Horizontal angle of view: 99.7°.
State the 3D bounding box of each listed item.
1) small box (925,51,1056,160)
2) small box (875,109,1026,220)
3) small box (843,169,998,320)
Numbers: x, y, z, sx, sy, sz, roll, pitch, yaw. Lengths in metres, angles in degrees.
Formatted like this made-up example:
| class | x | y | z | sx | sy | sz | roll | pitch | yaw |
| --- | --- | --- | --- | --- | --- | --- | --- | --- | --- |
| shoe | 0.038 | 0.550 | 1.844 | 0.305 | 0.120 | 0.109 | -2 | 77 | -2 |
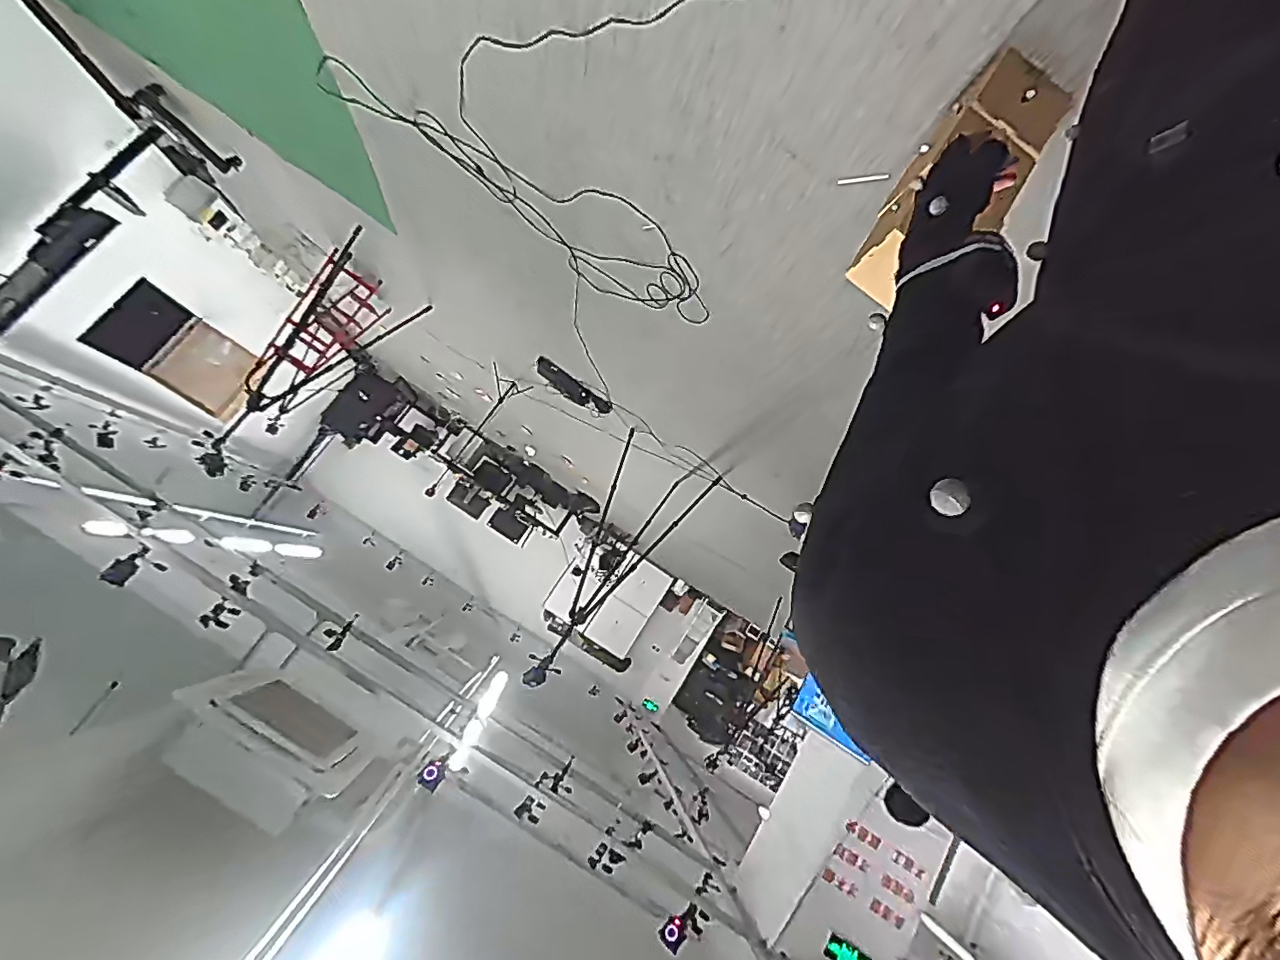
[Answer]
| class | x | y | z | sx | sy | sz | roll | pitch | yaw |
| --- | --- | --- | --- | --- | --- | --- | --- | --- | --- |
| small box | 0.716 | -0.725 | 1.122 | 0.168 | 0.176 | 0.179 | 35 | 166 | -5 |
| small box | 0.625 | -0.591 | 1.090 | 0.179 | 0.176 | 0.168 | 36 | 167 | -5 |
| small box | 0.545 | -0.455 | 1.053 | 0.179 | 0.176 | 0.168 | 36 | 167 | -5 |
